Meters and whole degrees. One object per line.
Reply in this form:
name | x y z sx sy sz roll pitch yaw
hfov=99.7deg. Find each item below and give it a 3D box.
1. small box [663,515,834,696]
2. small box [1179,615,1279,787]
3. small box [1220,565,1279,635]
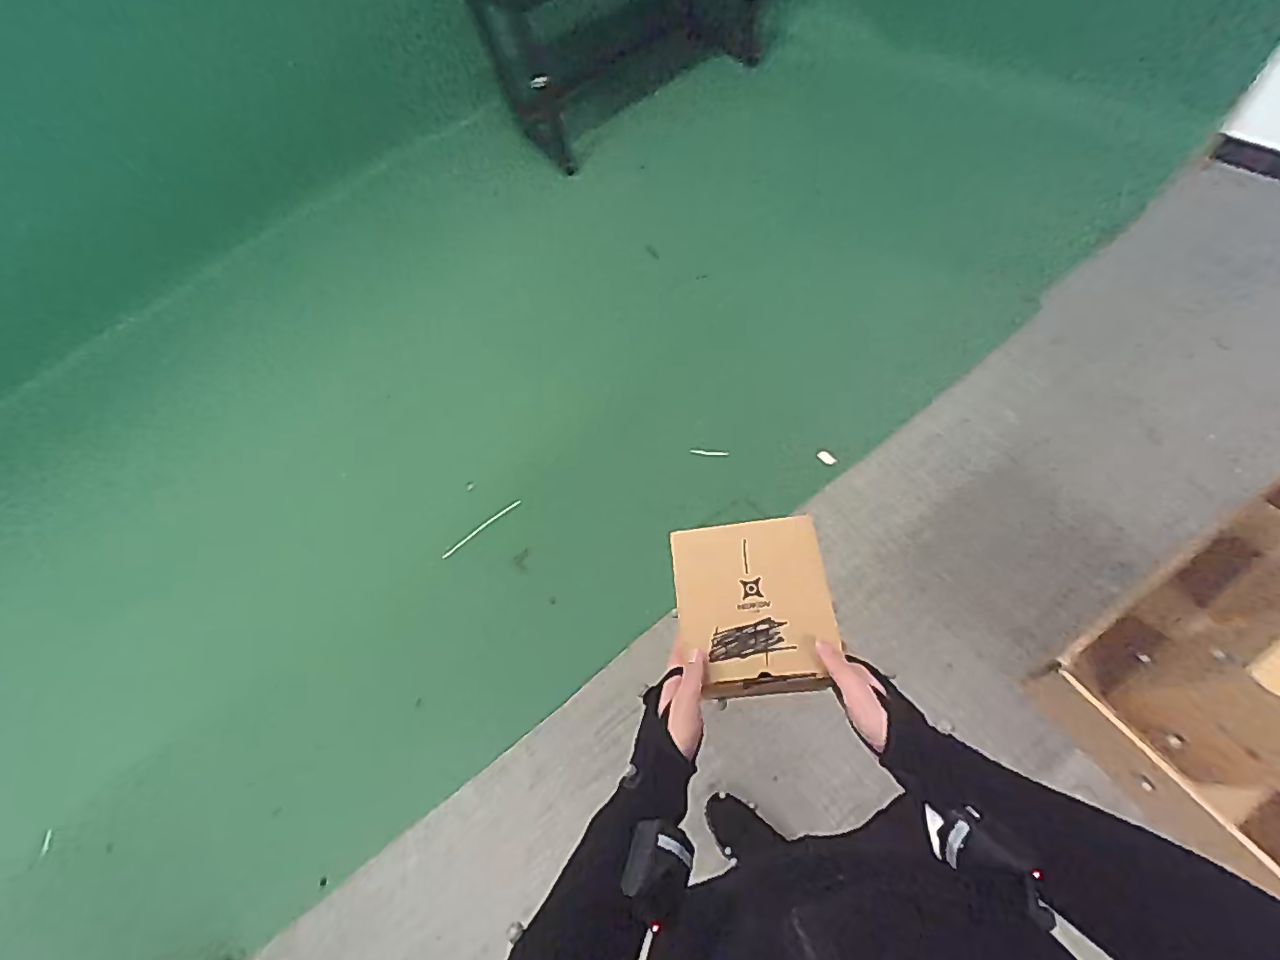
small box | 0.126 0.162 0.660 0.168 0.176 0.179 -8 62 7
small box | 0.872 0.284 0.699 0.179 0.176 0.168 -34 61 -6
small box | 1.118 0.219 0.866 0.179 0.176 0.168 -35 60 -5
